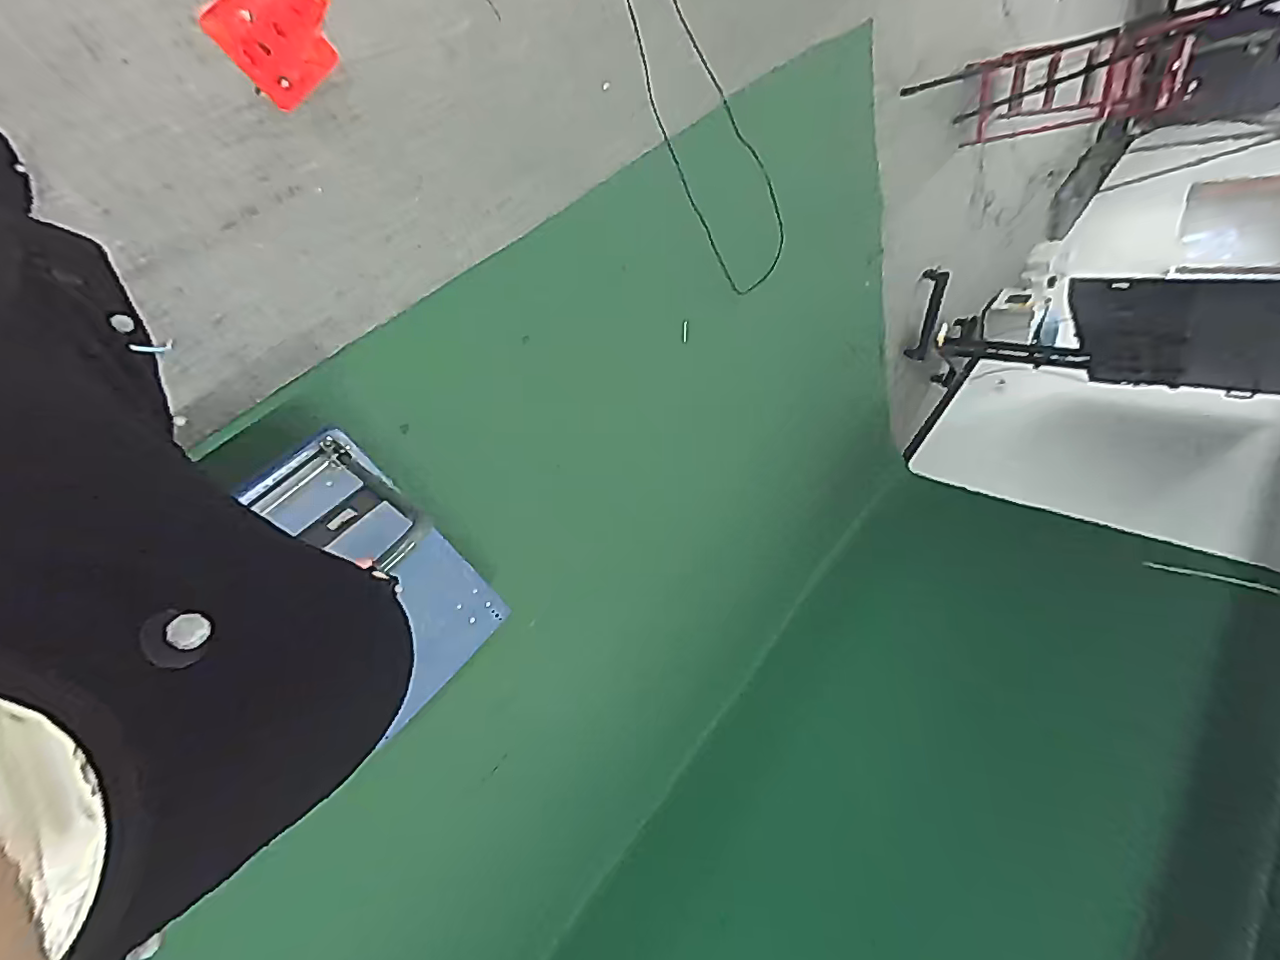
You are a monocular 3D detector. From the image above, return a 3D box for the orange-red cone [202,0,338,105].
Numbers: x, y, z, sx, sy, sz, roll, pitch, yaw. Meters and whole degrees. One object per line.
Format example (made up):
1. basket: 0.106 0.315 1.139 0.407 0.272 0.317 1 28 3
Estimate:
1. orange-red cone: -0.681 -0.922 1.068 0.199 0.360 0.198 -57 137 -13
